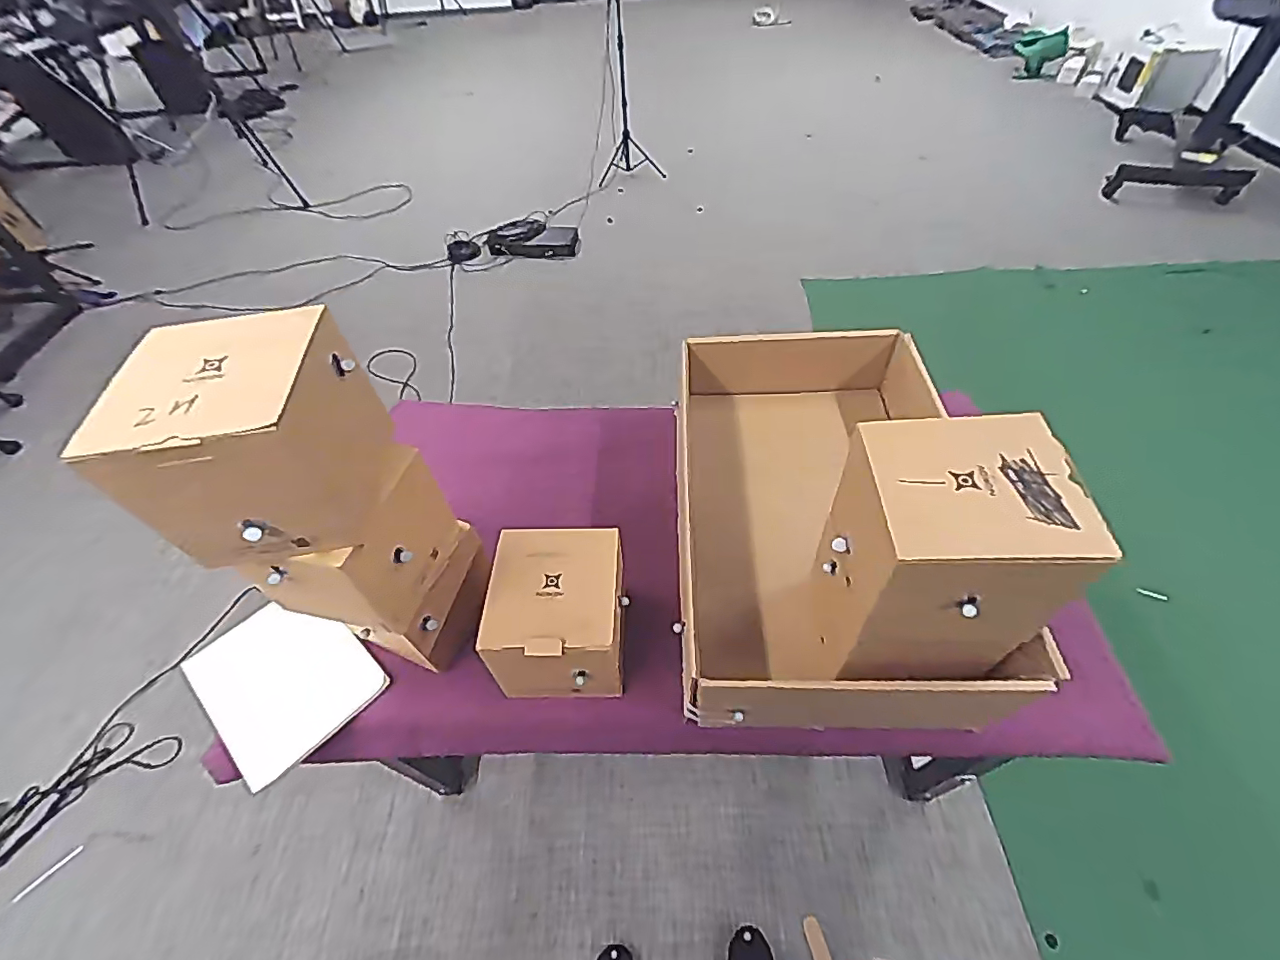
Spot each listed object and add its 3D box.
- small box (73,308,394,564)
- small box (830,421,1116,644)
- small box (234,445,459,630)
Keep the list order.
[{"bbox_3d":[-0.364,-0.042,0.534,0.168,0.176,0.179,-9,51,-2],"label":"small box"},{"bbox_3d":[0.309,0.057,0.552,0.179,0.176,0.168,-1,50,6],"label":"small box"},{"bbox_3d":[-0.350,0.065,0.659,0.179,0.176,0.168,9,51,12],"label":"small box"}]
